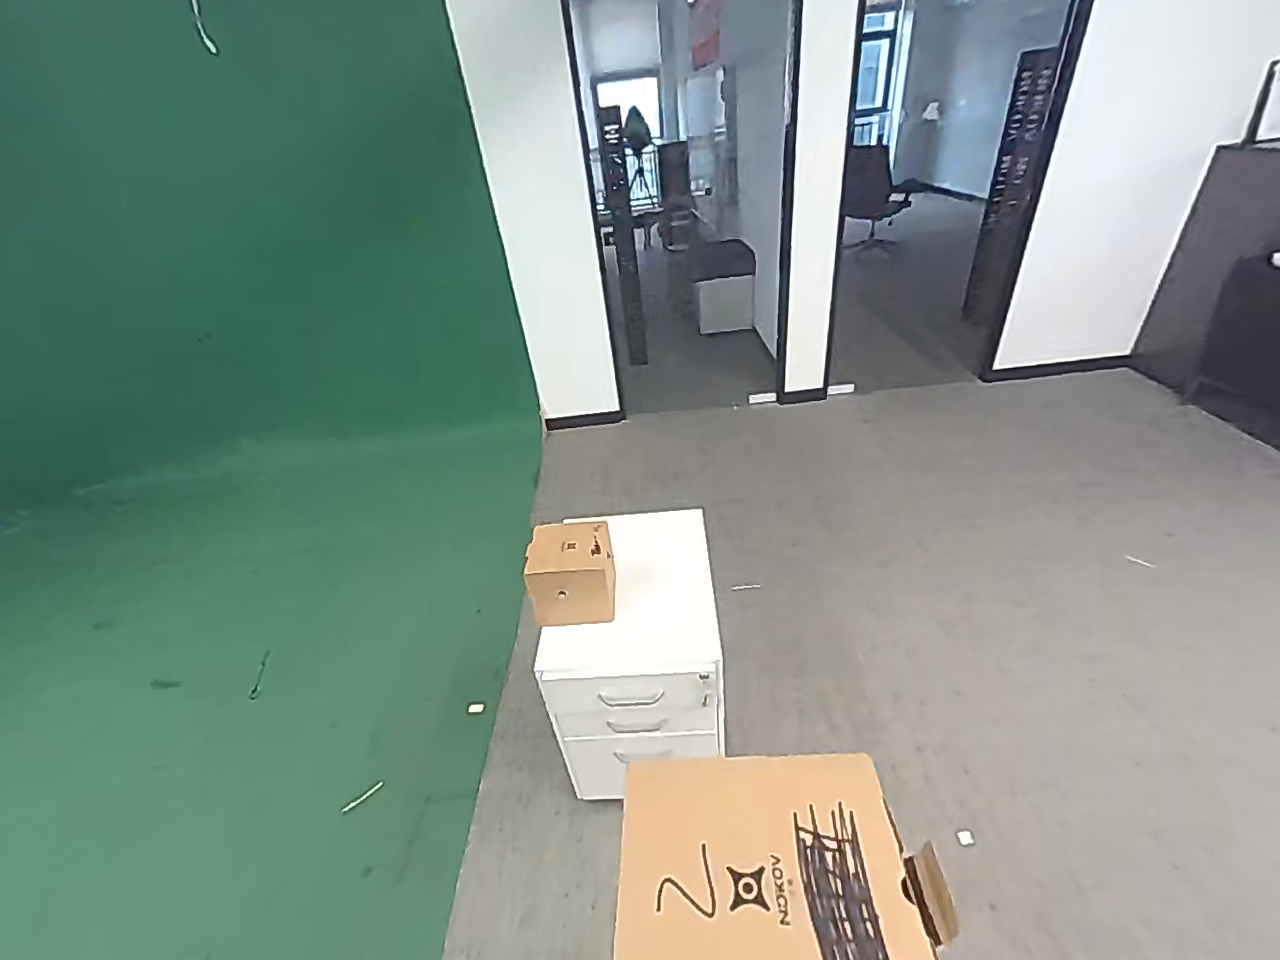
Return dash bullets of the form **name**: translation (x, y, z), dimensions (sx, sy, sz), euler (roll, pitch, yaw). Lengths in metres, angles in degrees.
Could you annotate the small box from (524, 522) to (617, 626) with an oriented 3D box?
- **small box**: translation (-0.151, 0.218, 1.240), dimensions (0.179, 0.176, 0.168), euler (-5, 35, 2)
